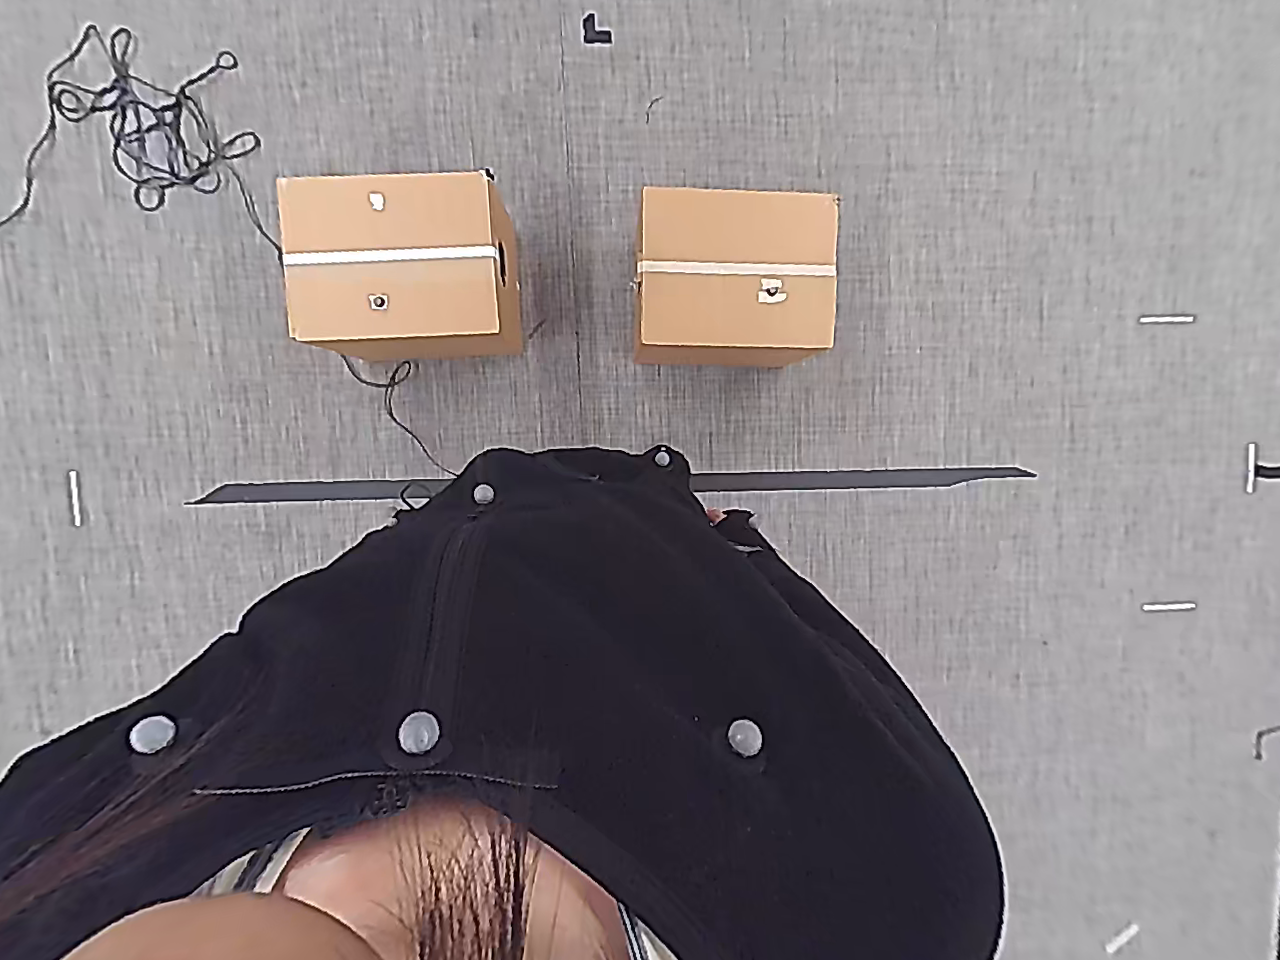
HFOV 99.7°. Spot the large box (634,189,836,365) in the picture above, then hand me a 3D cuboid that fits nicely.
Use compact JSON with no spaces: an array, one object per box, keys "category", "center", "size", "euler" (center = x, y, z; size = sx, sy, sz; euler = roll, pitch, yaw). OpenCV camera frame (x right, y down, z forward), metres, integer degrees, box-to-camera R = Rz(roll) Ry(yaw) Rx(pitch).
[{"category":"large box","center":[0.195,-0.445,1.262],"size":[0.408,0.320,0.320],"euler":[1,95,-4]}]
